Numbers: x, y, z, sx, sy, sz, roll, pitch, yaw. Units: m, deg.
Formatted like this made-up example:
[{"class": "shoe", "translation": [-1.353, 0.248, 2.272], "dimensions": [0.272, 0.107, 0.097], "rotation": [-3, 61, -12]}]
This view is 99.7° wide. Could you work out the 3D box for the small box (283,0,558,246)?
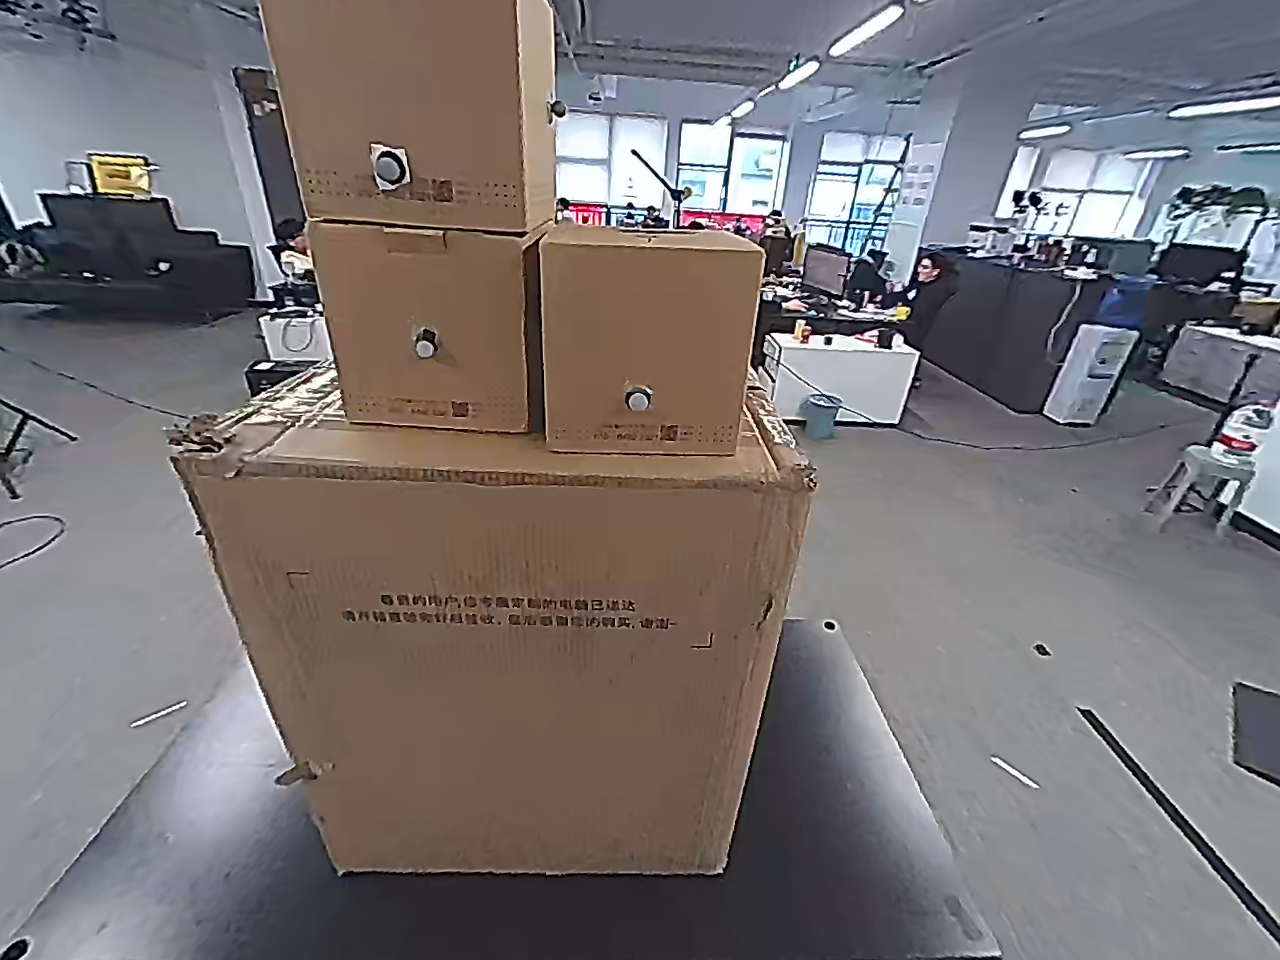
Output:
[{"class": "small box", "translation": [-0.159, -0.299, 0.447], "dimensions": [0.168, 0.176, 0.179], "rotation": [2, 30, -3]}]
